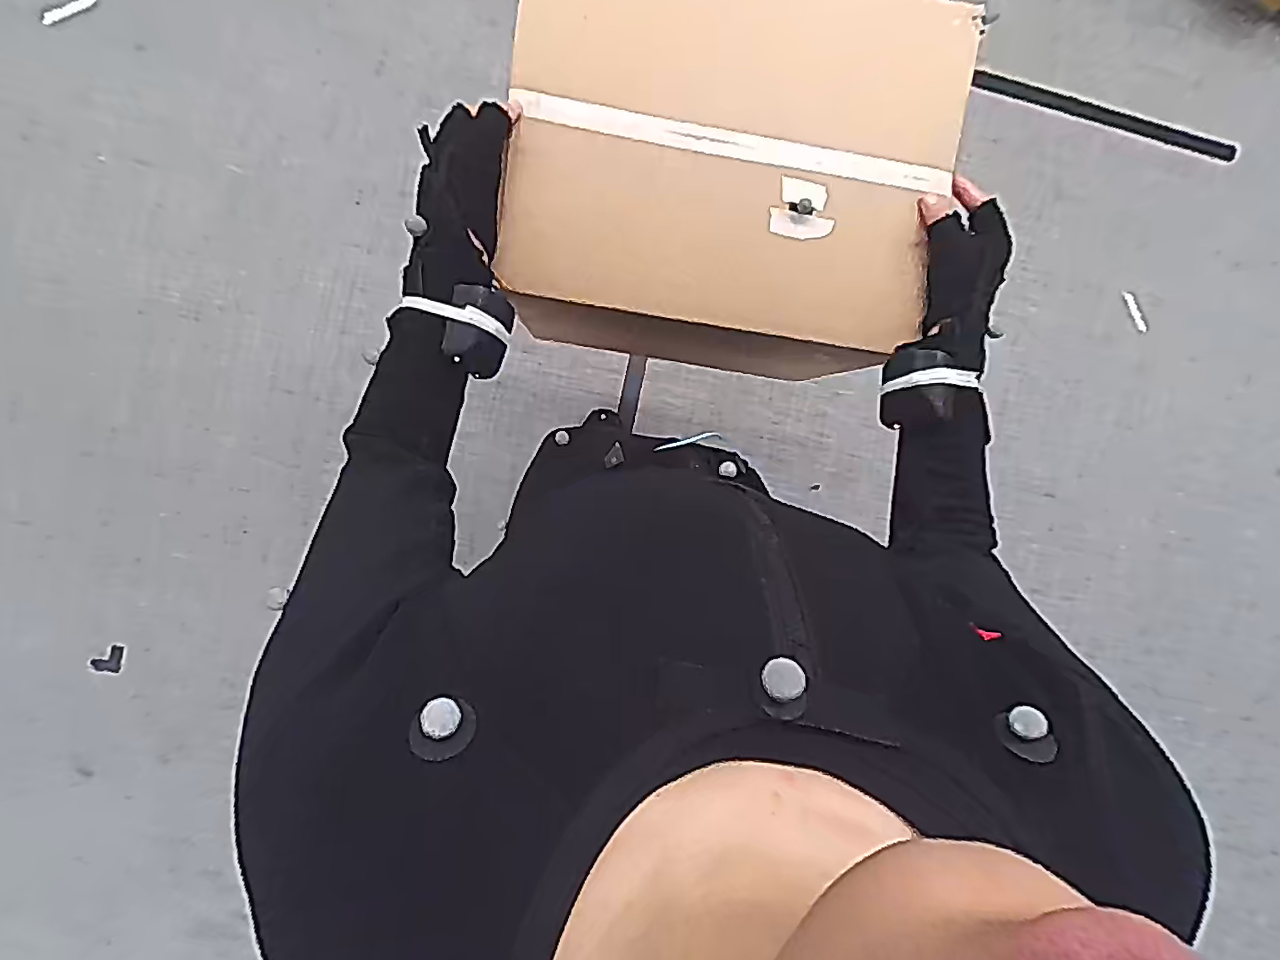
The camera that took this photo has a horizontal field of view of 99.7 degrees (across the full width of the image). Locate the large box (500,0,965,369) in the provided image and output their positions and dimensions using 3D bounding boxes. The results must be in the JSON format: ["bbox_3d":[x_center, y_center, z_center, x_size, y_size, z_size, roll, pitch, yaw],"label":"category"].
[{"bbox_3d":[0.073,-0.325,0.646,0.408,0.320,0.320,8,97,-5],"label":"large box"}]
